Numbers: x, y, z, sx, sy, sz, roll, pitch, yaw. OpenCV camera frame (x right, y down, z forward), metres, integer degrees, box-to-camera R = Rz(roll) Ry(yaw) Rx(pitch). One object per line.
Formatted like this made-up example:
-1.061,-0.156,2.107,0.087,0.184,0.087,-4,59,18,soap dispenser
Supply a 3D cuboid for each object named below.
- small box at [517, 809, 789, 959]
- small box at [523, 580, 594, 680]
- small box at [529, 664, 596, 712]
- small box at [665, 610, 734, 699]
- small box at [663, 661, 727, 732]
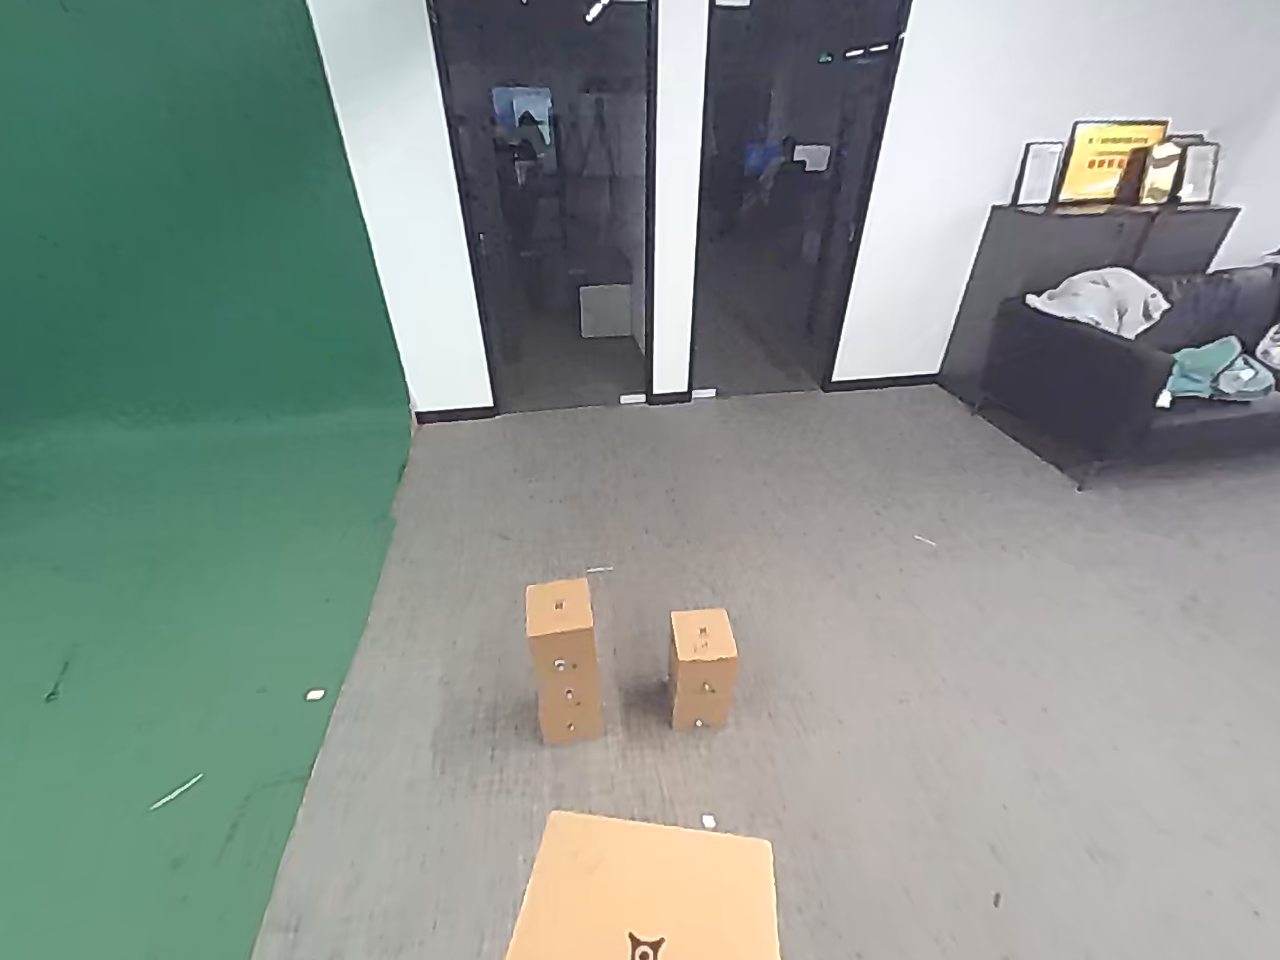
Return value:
0.006,0.363,0.356,0.168,0.176,0.179,4,24,6,small box
-0.214,0.392,1.419,0.168,0.176,0.179,-8,35,-9,small box
-0.218,0.525,1.513,0.168,0.176,0.179,-7,35,-10,small box
0.165,0.500,1.555,0.168,0.176,0.179,-3,34,-4,small box
0.161,0.638,1.645,0.168,0.176,0.179,-1,35,-3,small box
